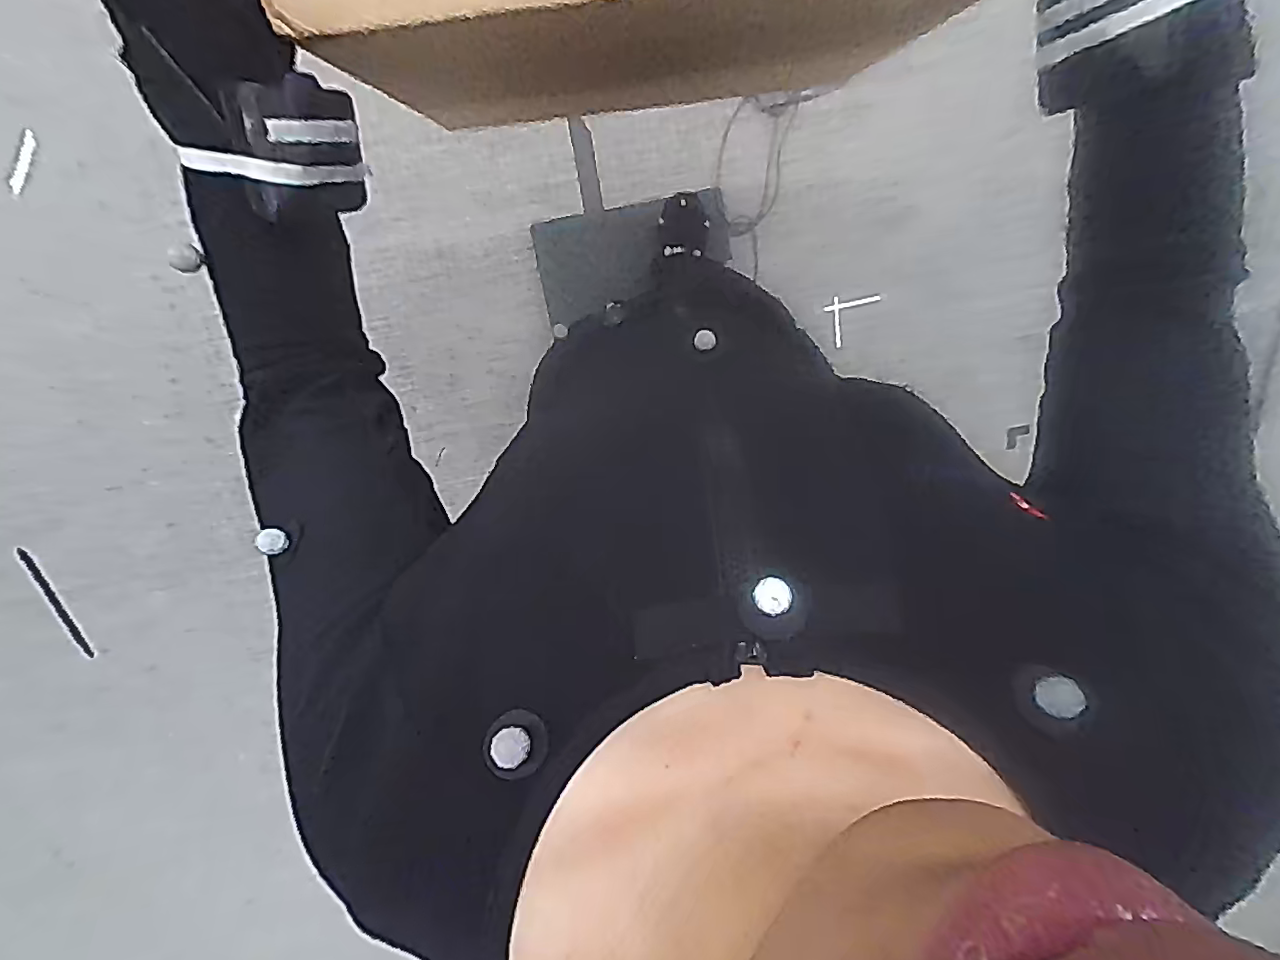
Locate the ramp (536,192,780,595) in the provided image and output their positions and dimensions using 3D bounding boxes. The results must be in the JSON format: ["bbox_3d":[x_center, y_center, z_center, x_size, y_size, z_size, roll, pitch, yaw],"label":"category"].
[{"bbox_3d":[0.060,-0.200,1.451,0.509,0.206,0.991,-12,109,3],"label":"ramp"}]

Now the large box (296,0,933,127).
[{"bbox_3d":[-0.007,-0.456,0.344,0.408,0.320,0.320,-8,116,0],"label":"large box"}]
